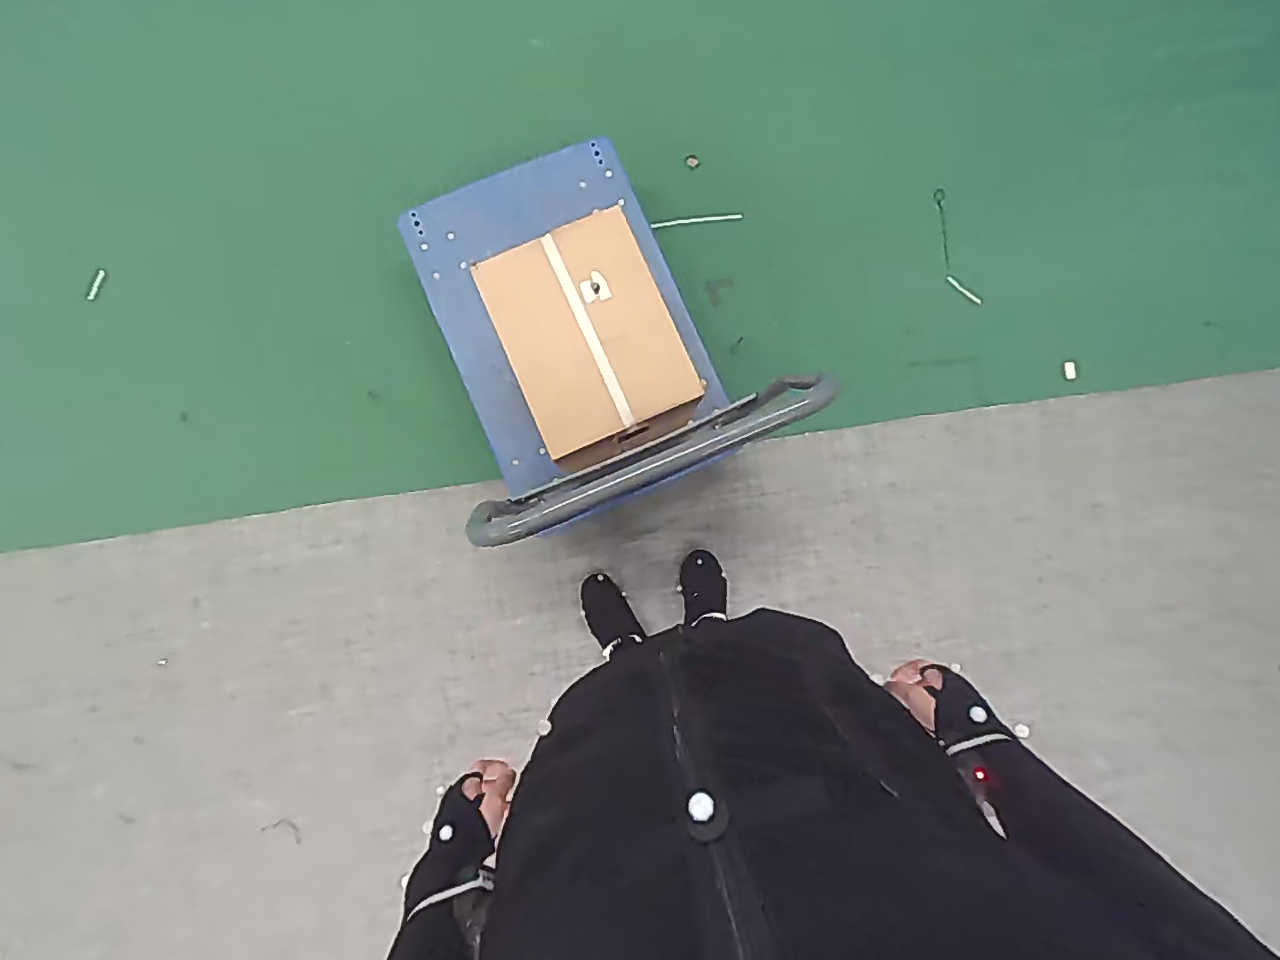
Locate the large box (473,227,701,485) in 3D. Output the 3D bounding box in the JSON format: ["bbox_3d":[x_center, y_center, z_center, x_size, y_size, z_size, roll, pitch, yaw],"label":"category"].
[{"bbox_3d":[-0.101,-0.241,1.178,0.320,0.320,0.408,-24,85,-3],"label":"large box"}]
